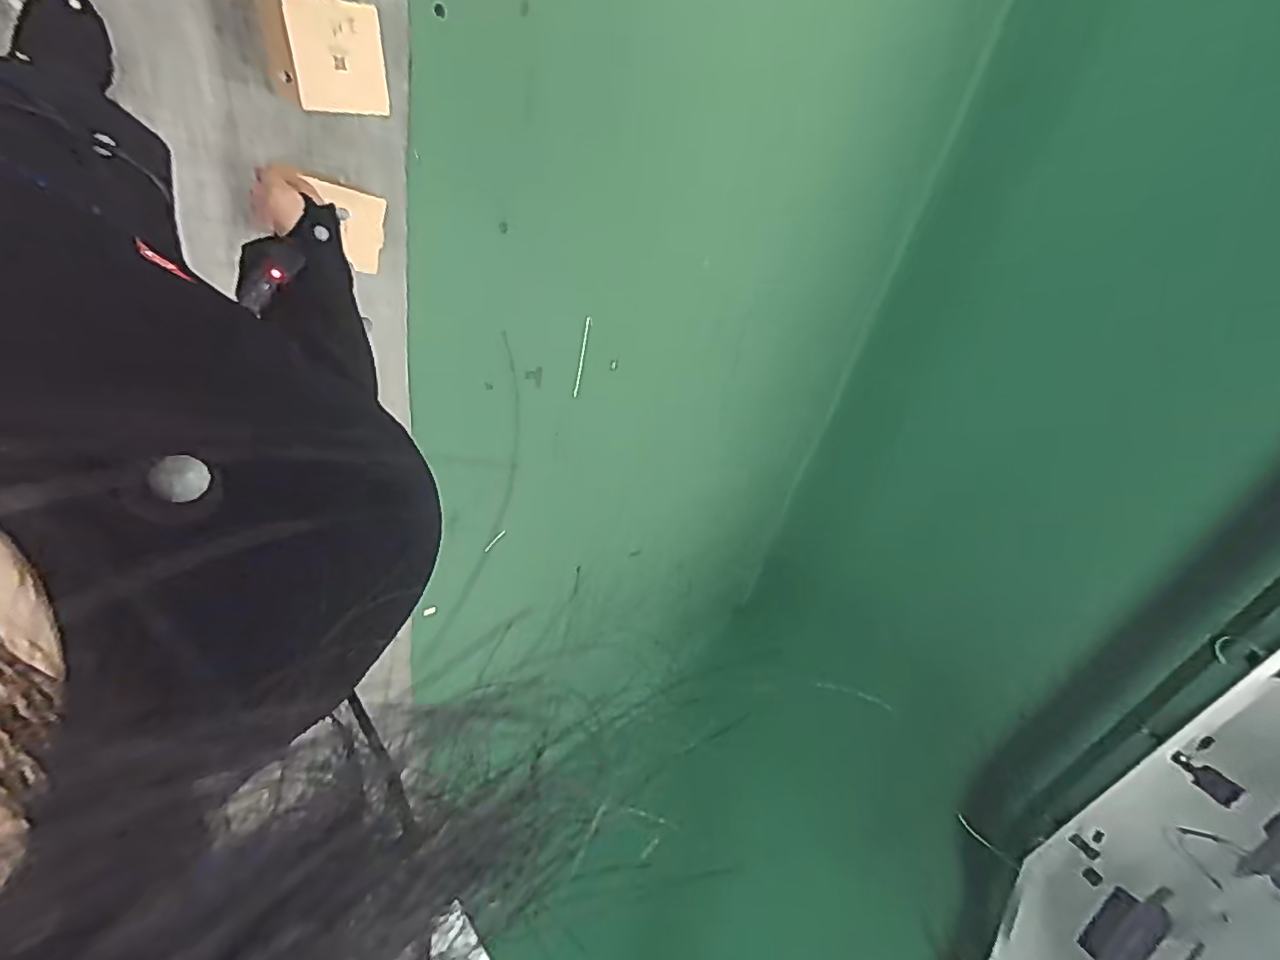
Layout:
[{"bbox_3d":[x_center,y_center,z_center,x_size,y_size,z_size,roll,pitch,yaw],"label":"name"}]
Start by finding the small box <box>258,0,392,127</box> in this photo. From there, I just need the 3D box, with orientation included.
[{"bbox_3d":[-0.609,-0.810,1.054,0.168,0.176,0.179,-25,137,-37],"label":"small box"}]

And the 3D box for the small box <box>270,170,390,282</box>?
[{"bbox_3d":[-0.684,-0.558,1.192,0.179,0.176,0.168,-7,126,-48],"label":"small box"}]
